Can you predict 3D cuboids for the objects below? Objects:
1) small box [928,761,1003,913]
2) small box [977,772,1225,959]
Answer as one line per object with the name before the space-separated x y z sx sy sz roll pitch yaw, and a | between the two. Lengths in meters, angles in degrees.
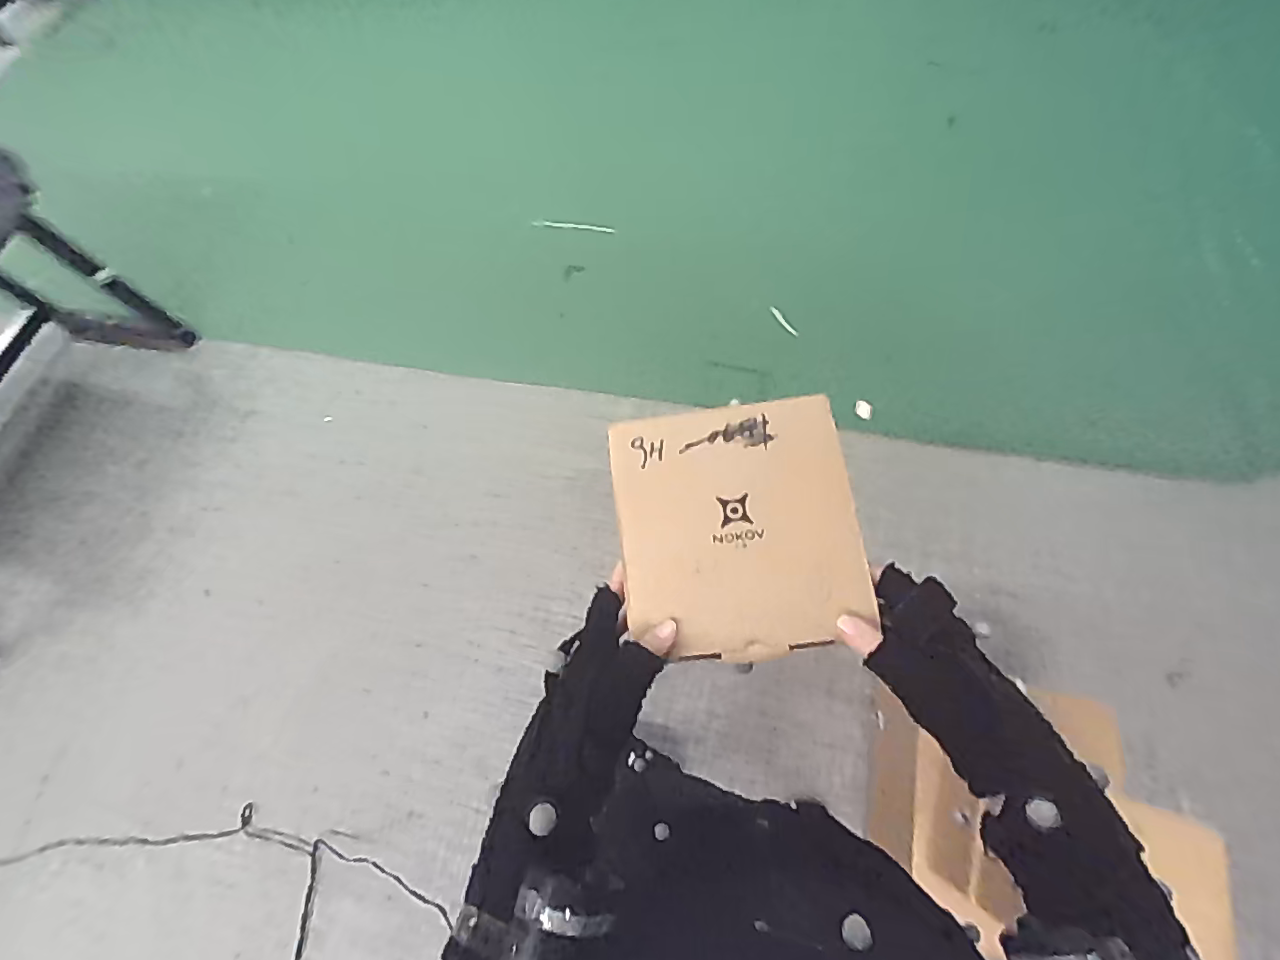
small box | 0.544 0.534 0.791 0.168 0.176 0.179 16 71 15
small box | 0.526 0.471 0.641 0.168 0.176 0.179 15 68 15
